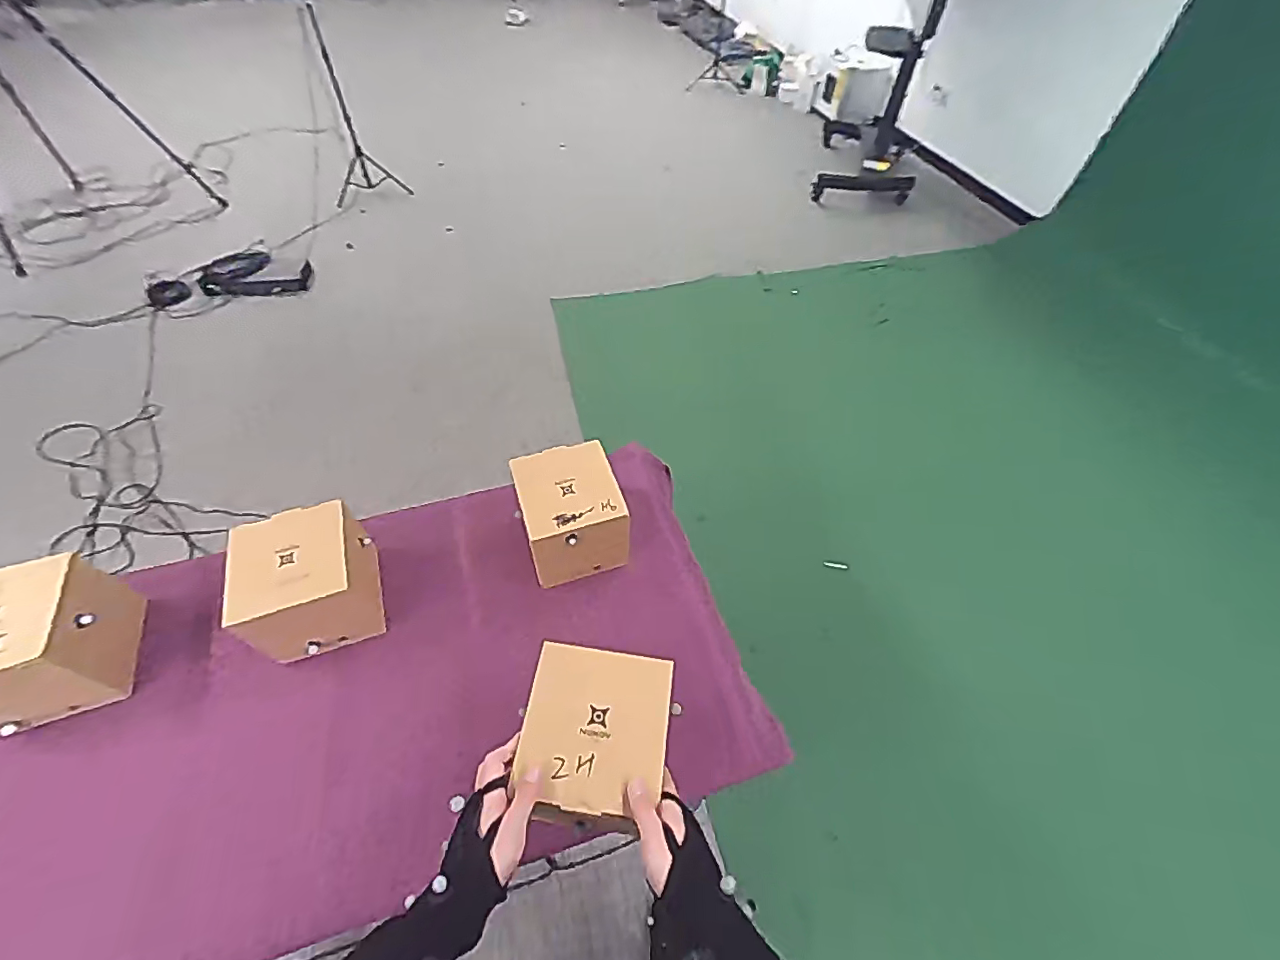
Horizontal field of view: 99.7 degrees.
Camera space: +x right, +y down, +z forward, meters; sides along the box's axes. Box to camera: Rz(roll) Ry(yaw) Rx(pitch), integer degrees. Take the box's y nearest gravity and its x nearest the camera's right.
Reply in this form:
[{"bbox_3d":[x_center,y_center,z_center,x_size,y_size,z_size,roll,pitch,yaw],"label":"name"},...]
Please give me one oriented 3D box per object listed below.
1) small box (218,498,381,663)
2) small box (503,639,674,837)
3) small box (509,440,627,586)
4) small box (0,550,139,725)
[{"bbox_3d":[-0.533,0.162,0.868,0.168,0.176,0.179,-16,54,-14],"label":"small box"},{"bbox_3d":[-0.058,0.324,0.675,0.168,0.176,0.179,9,53,3],"label":"small box"},{"bbox_3d":[-0.128,0.060,0.968,0.168,0.176,0.179,-15,53,-13],"label":"small box"},{"bbox_3d":[-0.887,0.235,0.788,0.168,0.176,0.179,-15,53,-15],"label":"small box"}]
